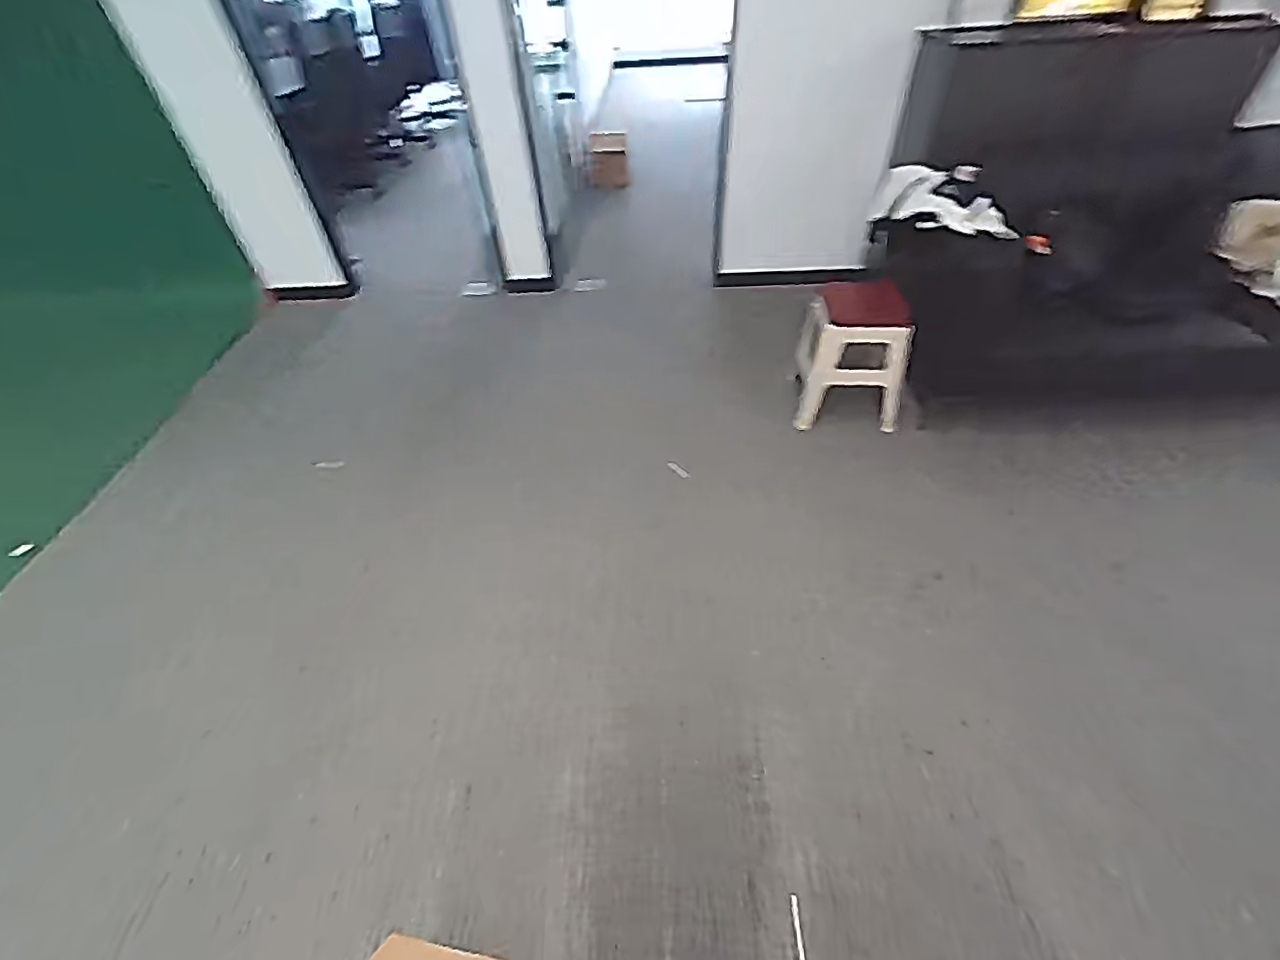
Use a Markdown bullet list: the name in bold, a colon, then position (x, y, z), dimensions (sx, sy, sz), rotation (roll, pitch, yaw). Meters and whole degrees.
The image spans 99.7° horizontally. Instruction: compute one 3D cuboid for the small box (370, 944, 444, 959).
- **small box**: position (-0.276, 0.684, 0.607), dimensions (0.168, 0.179, 0.176), rotation (9, 77, 4)
